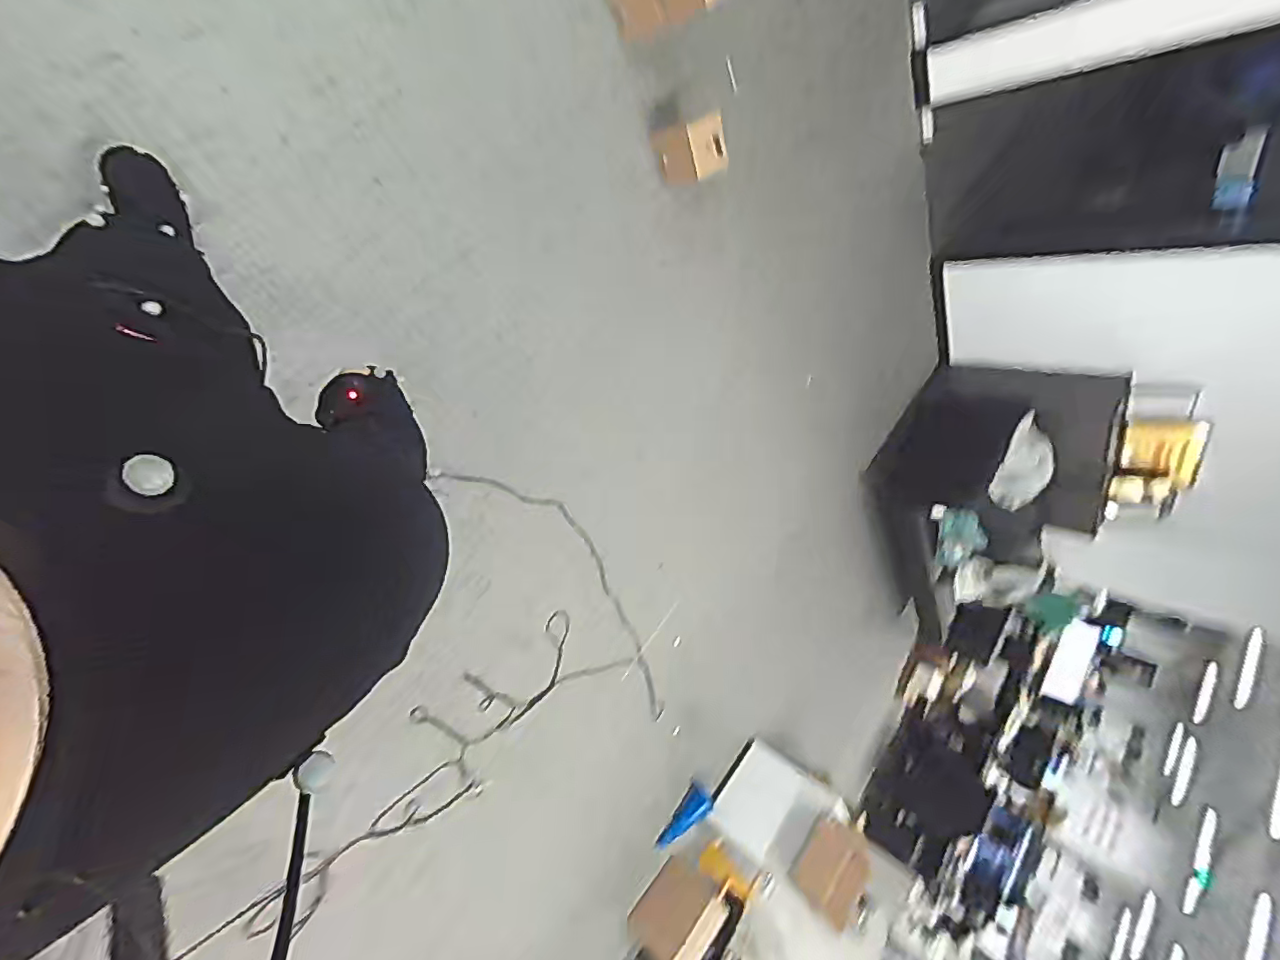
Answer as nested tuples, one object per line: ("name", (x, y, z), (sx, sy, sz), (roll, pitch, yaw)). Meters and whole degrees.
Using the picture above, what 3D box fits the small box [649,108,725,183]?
("small box", (0.161, -1.135, 1.840), (0.179, 0.176, 0.168), (-41, 129, -27))

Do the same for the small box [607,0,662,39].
("small box", (0.016, -1.451, 1.590), (0.179, 0.176, 0.168), (-53, 134, -18))
